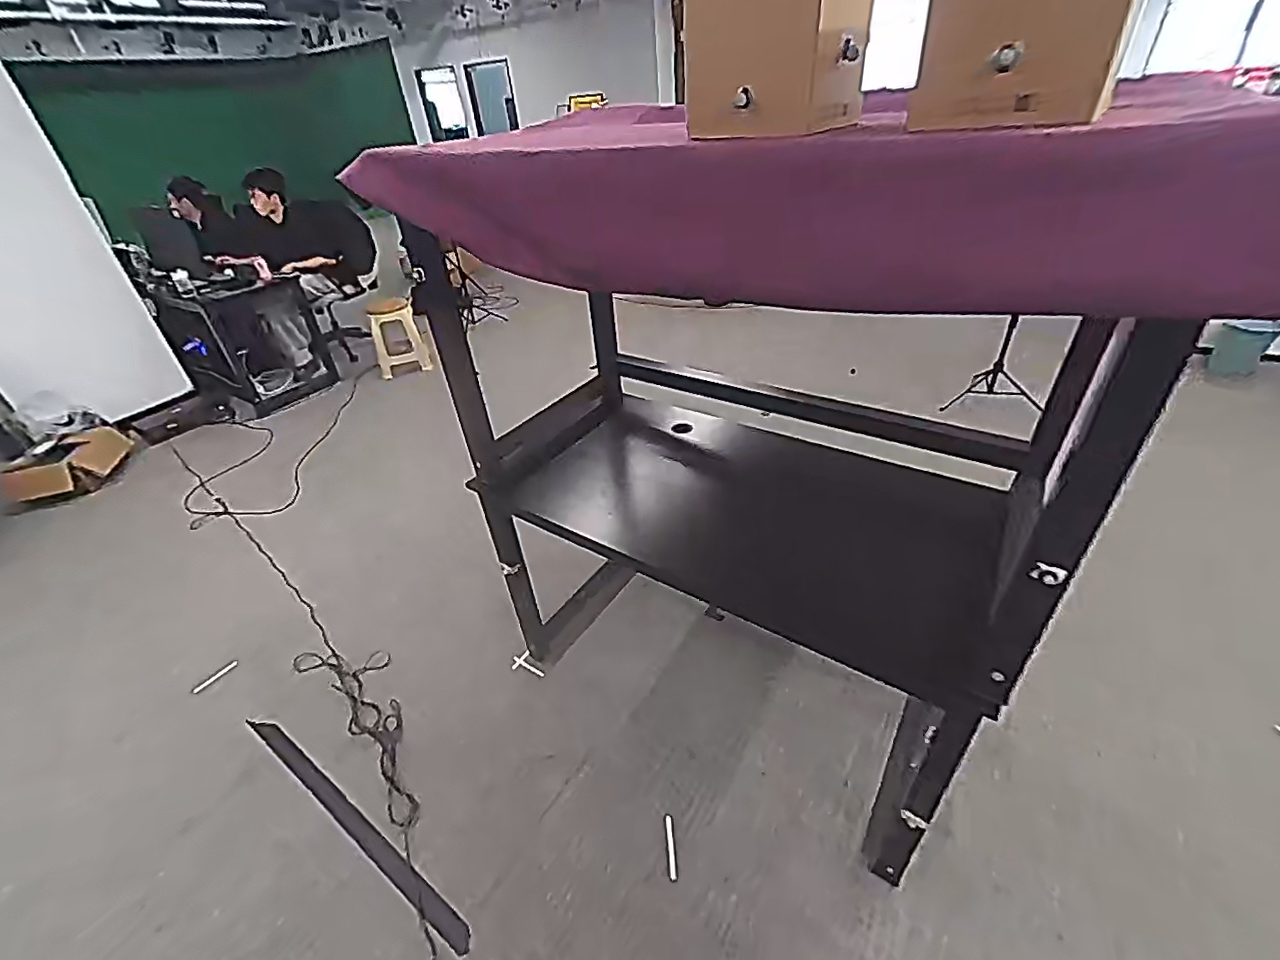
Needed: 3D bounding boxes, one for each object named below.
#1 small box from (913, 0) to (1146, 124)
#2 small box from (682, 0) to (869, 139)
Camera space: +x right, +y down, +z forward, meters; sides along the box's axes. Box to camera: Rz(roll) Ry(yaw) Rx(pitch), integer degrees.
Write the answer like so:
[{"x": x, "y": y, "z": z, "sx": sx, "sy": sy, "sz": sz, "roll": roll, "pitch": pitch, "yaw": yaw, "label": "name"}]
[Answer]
[{"x": 0.392, "y": -0.460, "z": 0.537, "sx": 0.168, "sy": 0.176, "sz": 0.179, "roll": 20, "pitch": 42, "yaw": 33, "label": "small box"}, {"x": 0.169, "y": -0.531, "z": 0.670, "sx": 0.179, "sy": 0.176, "sz": 0.168, "roll": 22, "pitch": 43, "yaw": 32, "label": "small box"}]
